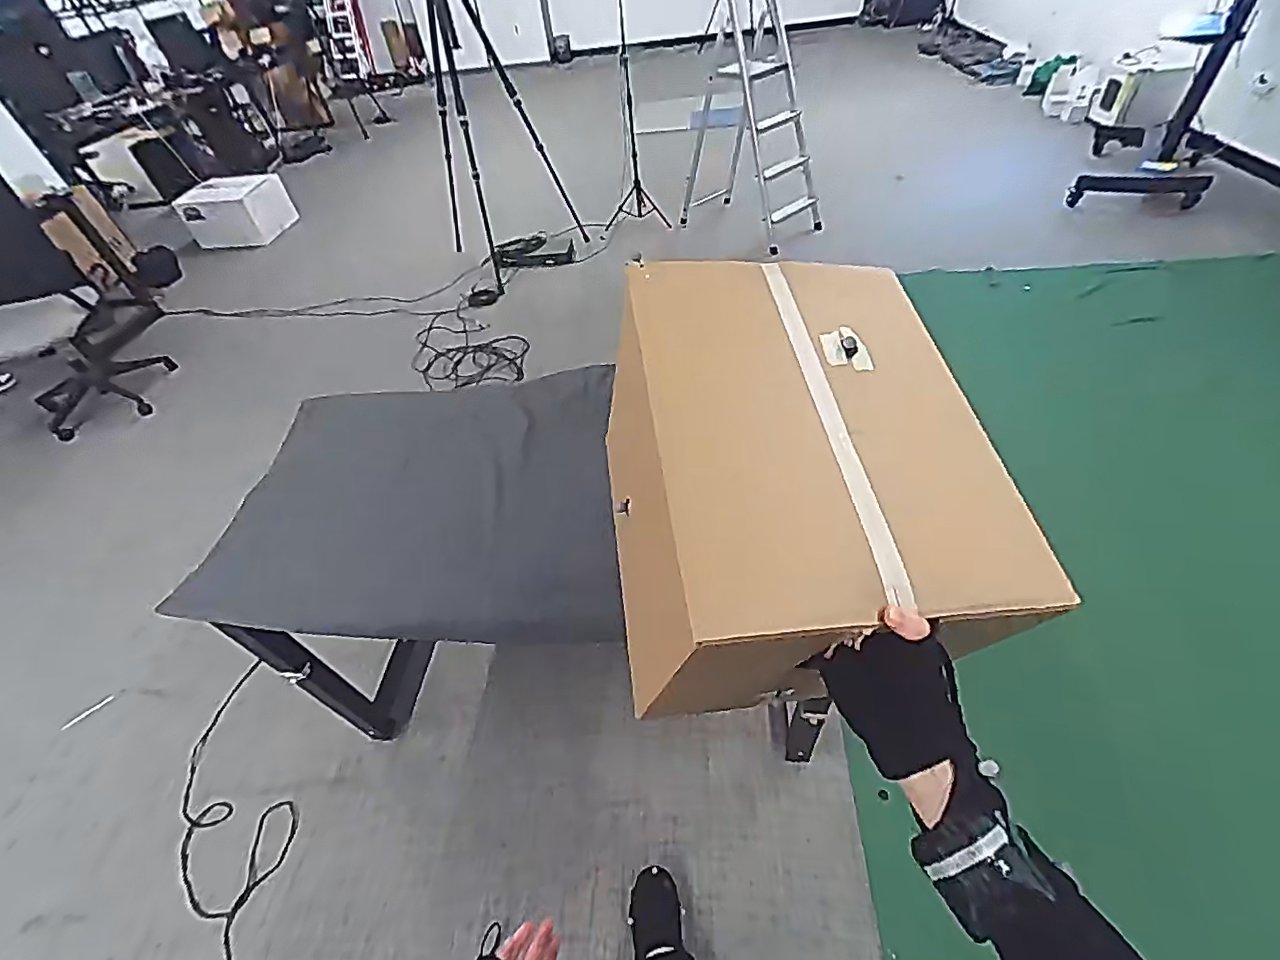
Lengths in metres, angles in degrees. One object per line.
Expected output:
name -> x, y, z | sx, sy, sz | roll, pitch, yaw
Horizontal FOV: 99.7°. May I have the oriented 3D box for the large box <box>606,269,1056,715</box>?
large box -> 0.137, 0.016, 0.626 | 0.320, 0.320, 0.408 | -2, 57, -10
